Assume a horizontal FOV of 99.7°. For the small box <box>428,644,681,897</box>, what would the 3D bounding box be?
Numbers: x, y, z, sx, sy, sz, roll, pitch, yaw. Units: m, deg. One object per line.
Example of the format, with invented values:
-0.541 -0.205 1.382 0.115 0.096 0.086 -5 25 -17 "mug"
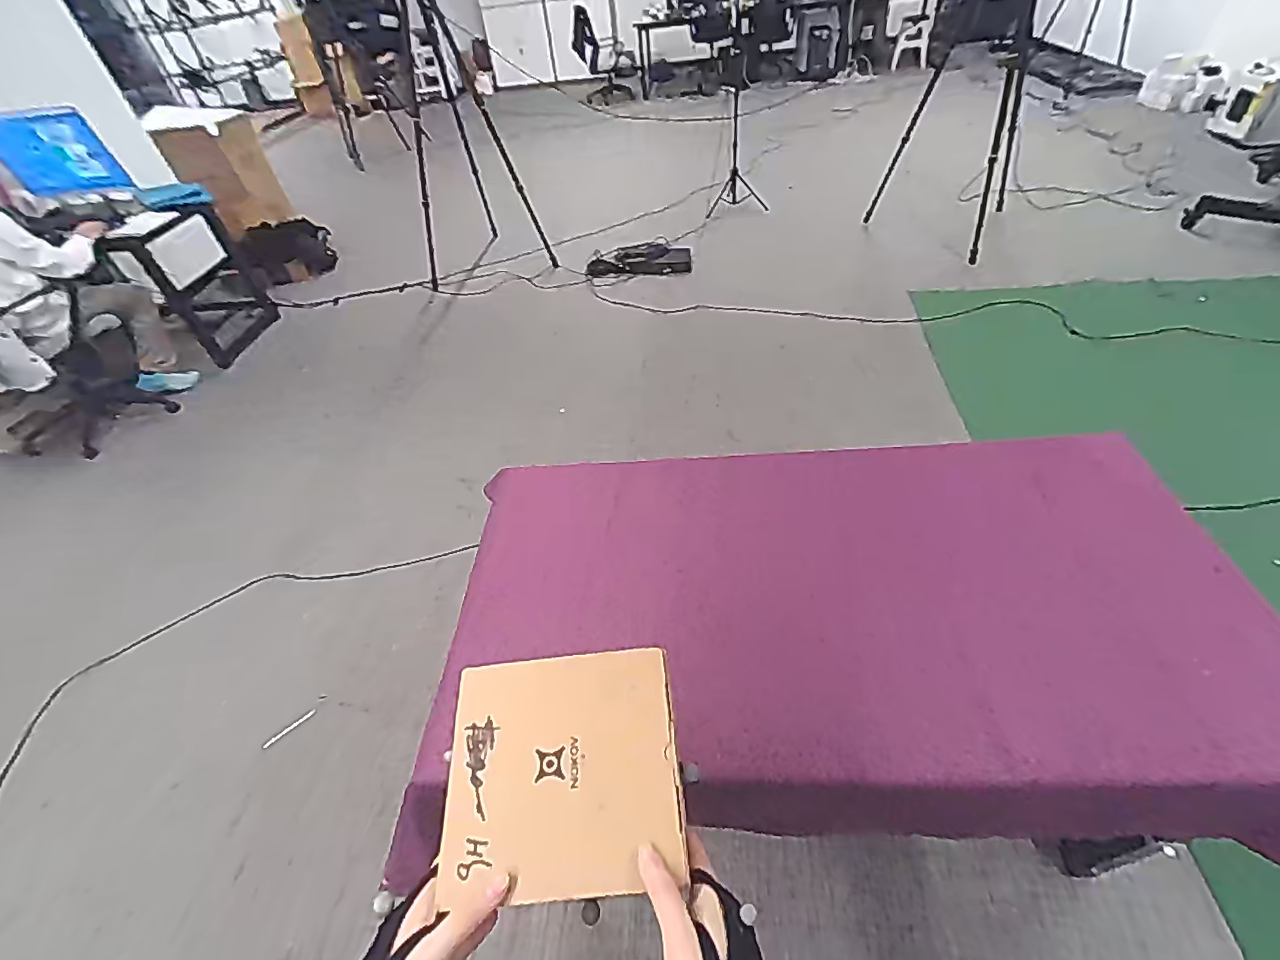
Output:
-0.057 0.259 0.478 0.179 0.176 0.168 -6 52 2 "small box"
